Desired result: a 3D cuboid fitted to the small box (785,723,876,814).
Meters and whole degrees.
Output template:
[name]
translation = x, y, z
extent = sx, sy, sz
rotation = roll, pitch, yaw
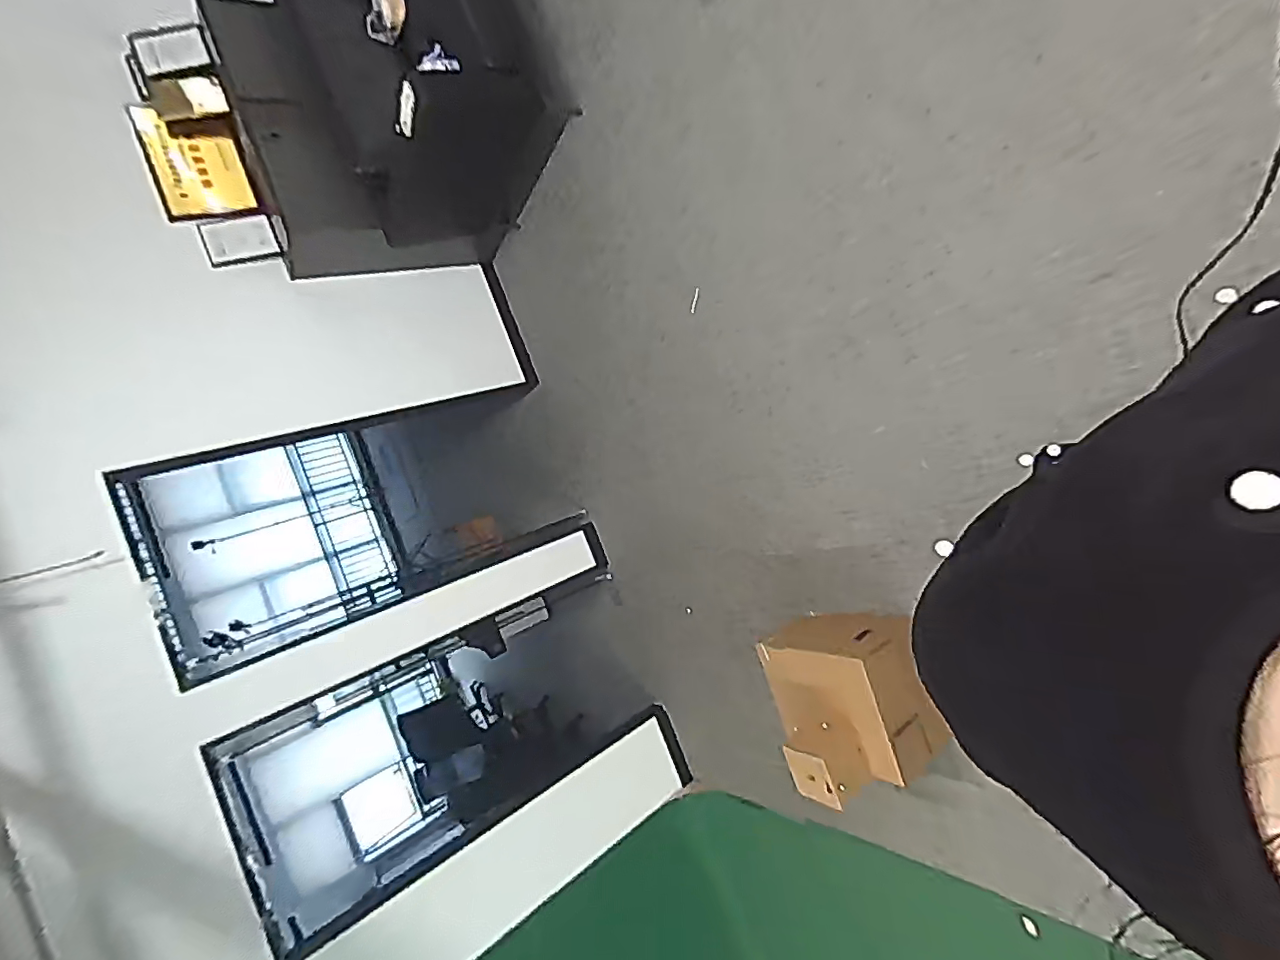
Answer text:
[small box]
translation = 0.591, 0.884, 1.677
extent = 0.179, 0.176, 0.168
rotation = -19, 92, 59
